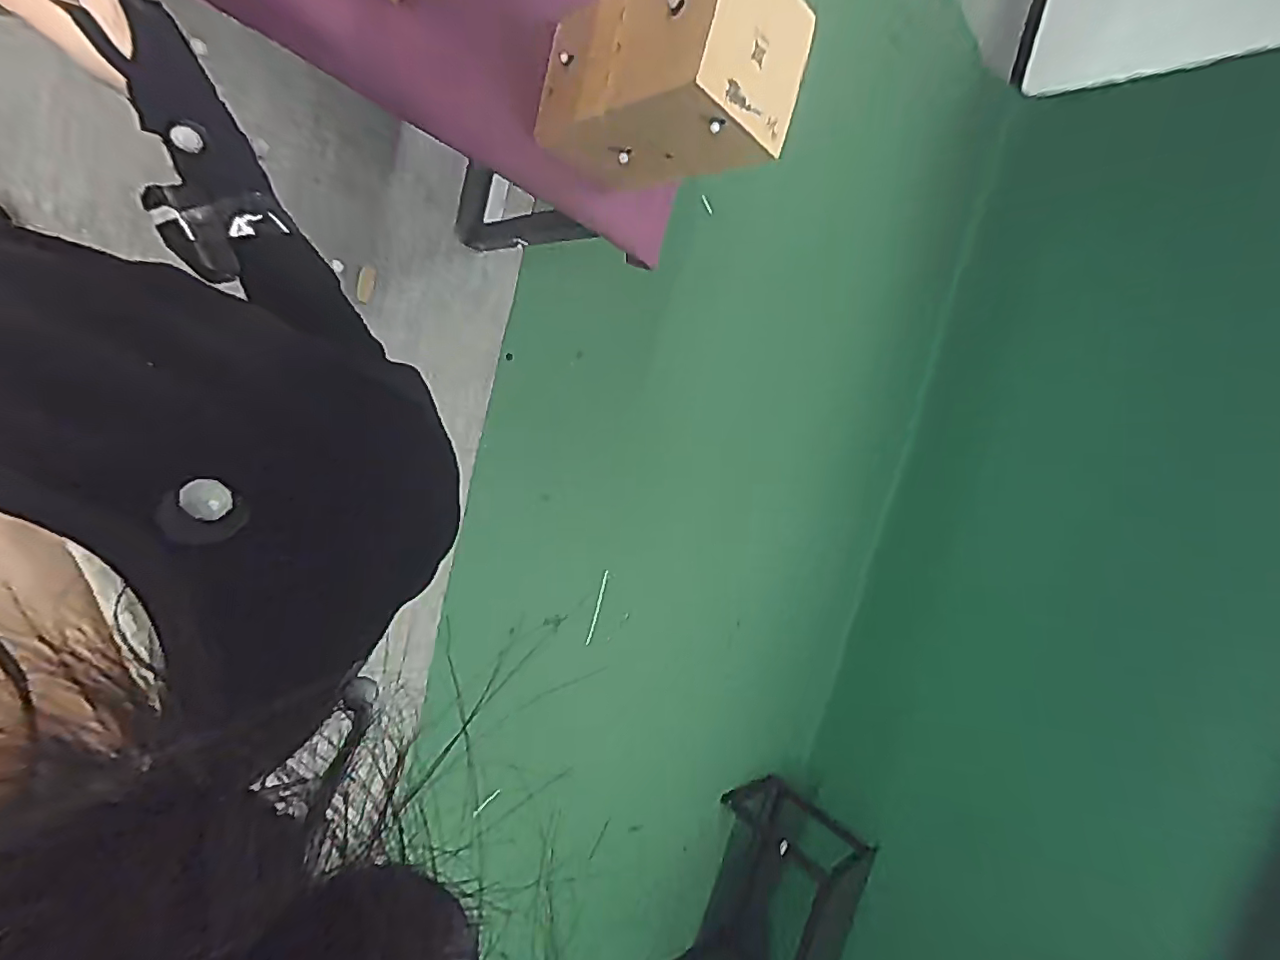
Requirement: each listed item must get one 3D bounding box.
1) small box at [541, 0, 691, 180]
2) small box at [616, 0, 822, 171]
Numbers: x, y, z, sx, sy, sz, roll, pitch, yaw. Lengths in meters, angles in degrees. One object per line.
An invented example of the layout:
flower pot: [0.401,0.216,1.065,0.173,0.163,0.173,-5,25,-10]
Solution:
small box: [-0.016,-0.564,0.792,0.179,0.176,0.168,8,100,-42]
small box: [0.092,-0.523,0.675,0.168,0.176,0.179,9,99,-41]
